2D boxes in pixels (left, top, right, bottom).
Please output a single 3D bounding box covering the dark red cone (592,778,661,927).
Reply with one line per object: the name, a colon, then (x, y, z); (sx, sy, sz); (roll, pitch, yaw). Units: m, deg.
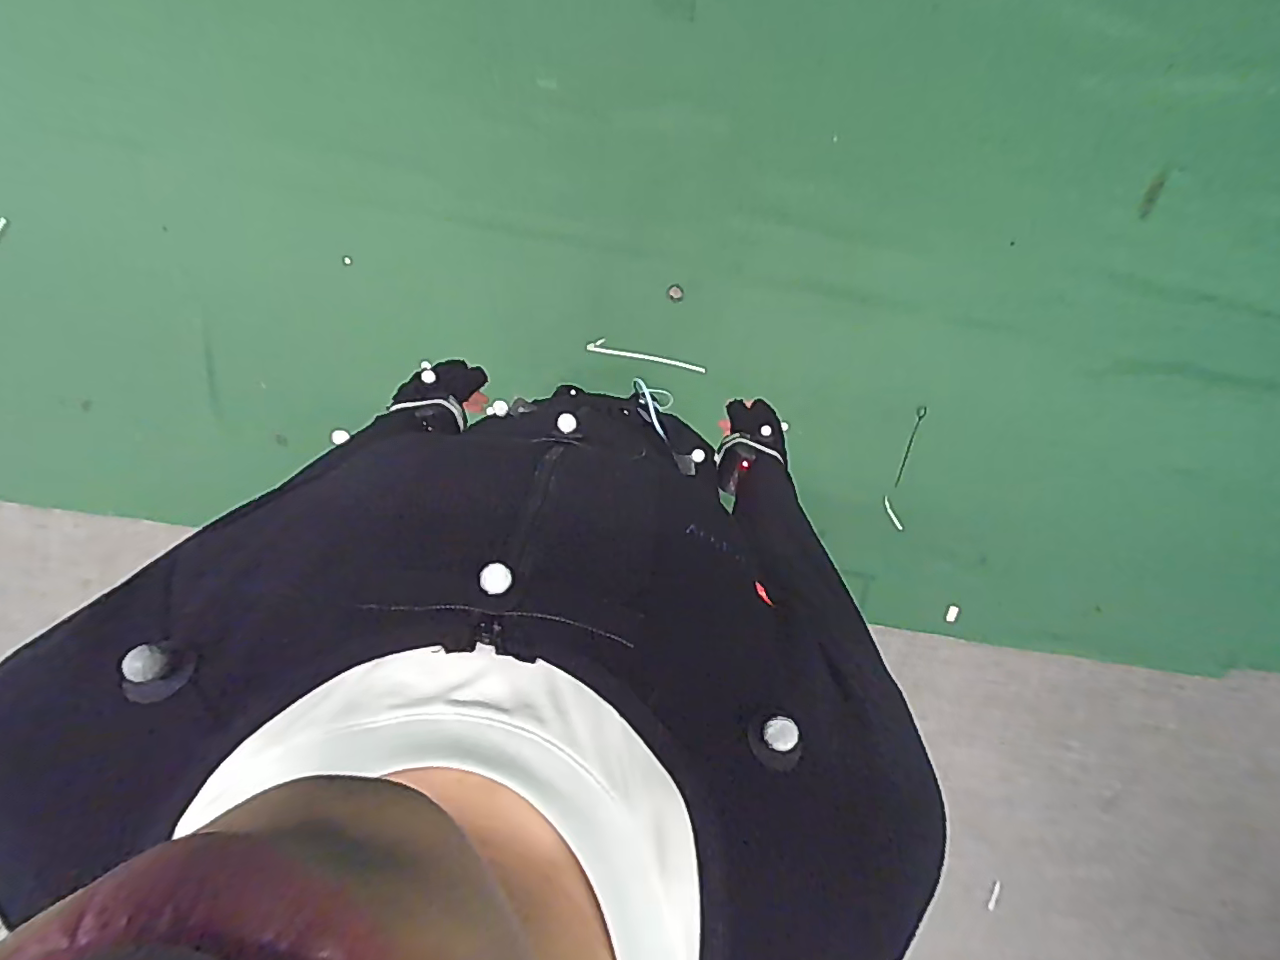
dark red cone: (-0.037, 1.024, 1.483); (0.202, 0.394, 0.201); (4, 99, -3)
